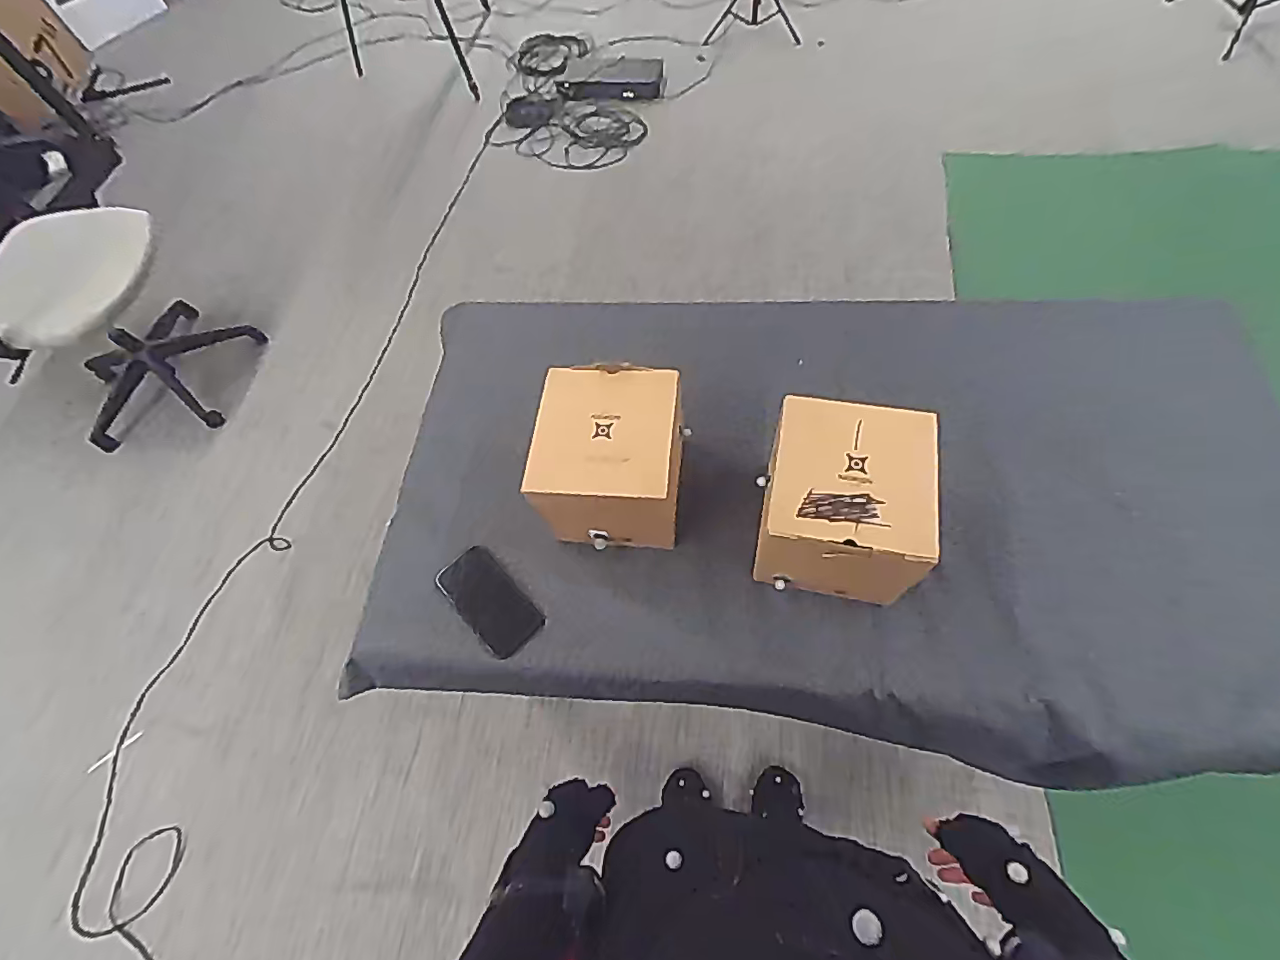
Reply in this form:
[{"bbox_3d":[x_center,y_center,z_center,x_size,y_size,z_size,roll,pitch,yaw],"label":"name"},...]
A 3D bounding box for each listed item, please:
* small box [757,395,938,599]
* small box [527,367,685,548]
[{"bbox_3d":[0.235,0.027,0.641,0.168,0.176,0.179,9,63,11],"label":"small box"},{"bbox_3d":[-0.030,-0.026,0.701,0.168,0.176,0.179,2,64,9],"label":"small box"}]
